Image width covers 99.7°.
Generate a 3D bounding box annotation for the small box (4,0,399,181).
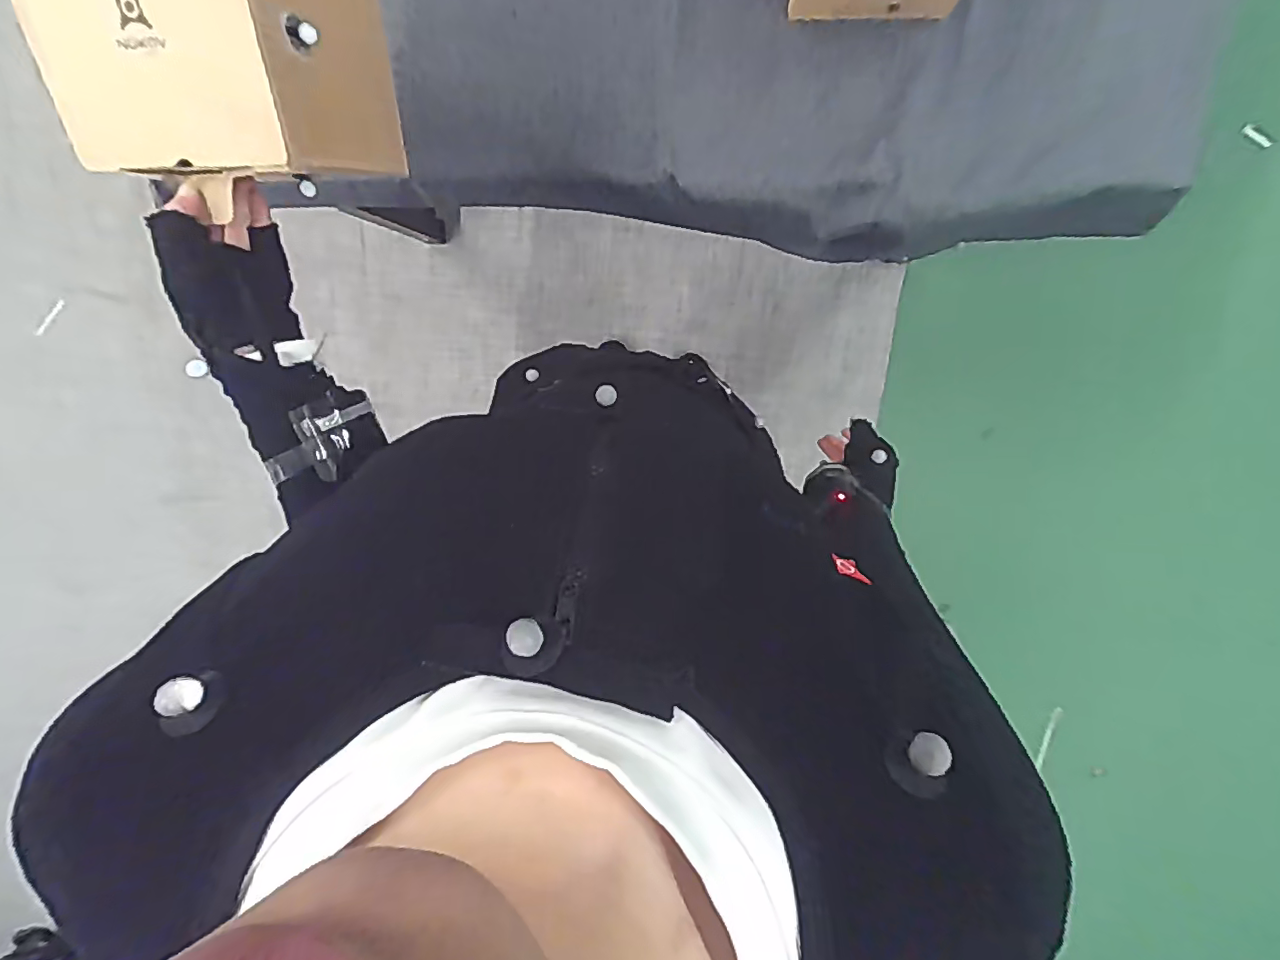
[{"bbox_3d":[-0.311,-0.327,0.410,0.168,0.176,0.179,2,117,6],"label":"small box"}]
